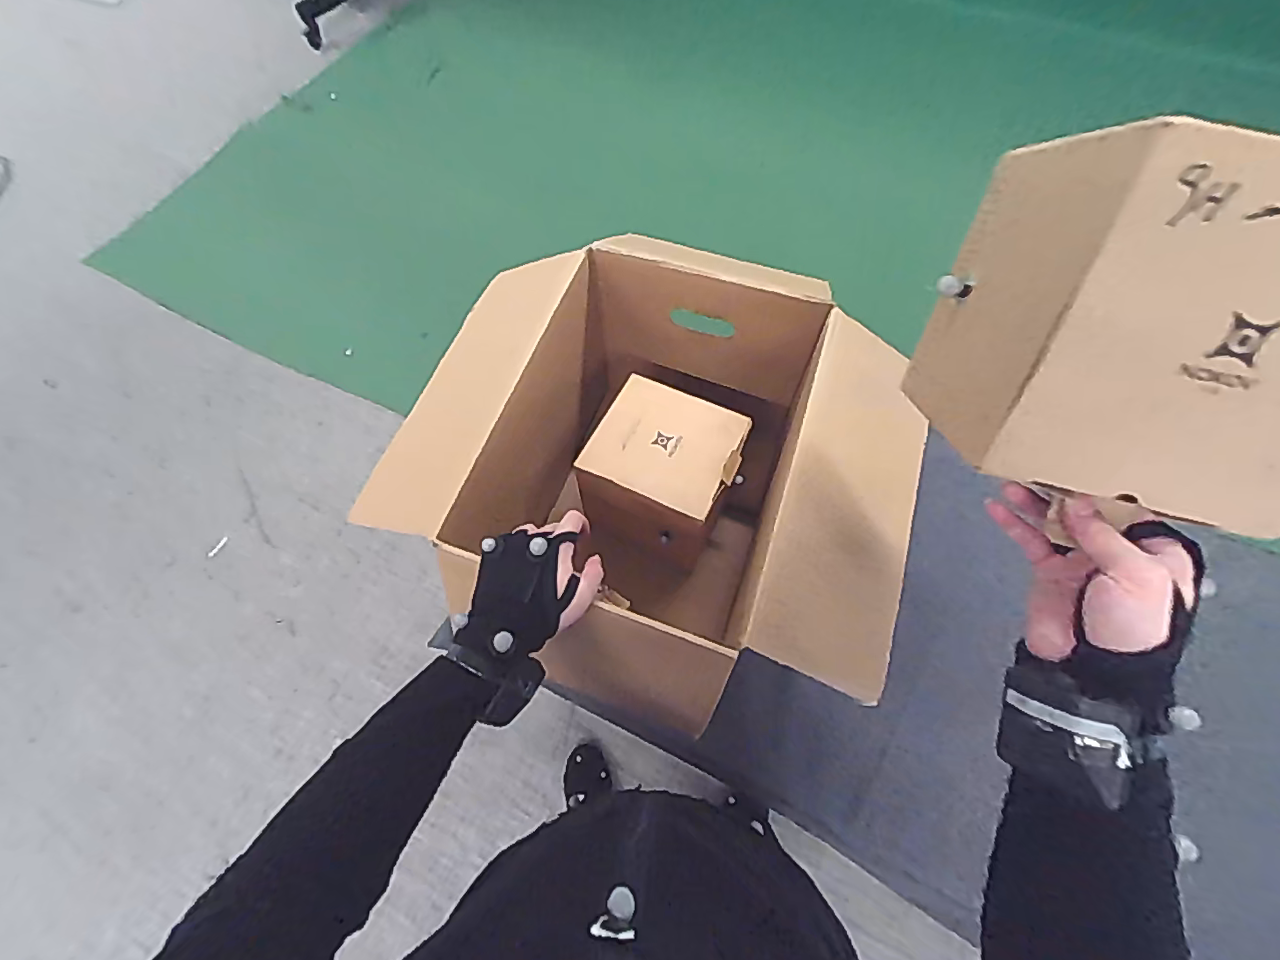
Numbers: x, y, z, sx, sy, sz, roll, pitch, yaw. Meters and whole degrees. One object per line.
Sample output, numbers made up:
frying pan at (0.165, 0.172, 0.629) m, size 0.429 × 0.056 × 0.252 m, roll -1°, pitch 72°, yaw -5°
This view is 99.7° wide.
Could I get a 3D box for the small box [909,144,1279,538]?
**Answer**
small box at (0.299, -0.094, 0.350) m, size 0.168 × 0.179 × 0.176 m, roll 13°, pitch 27°, yaw 4°
